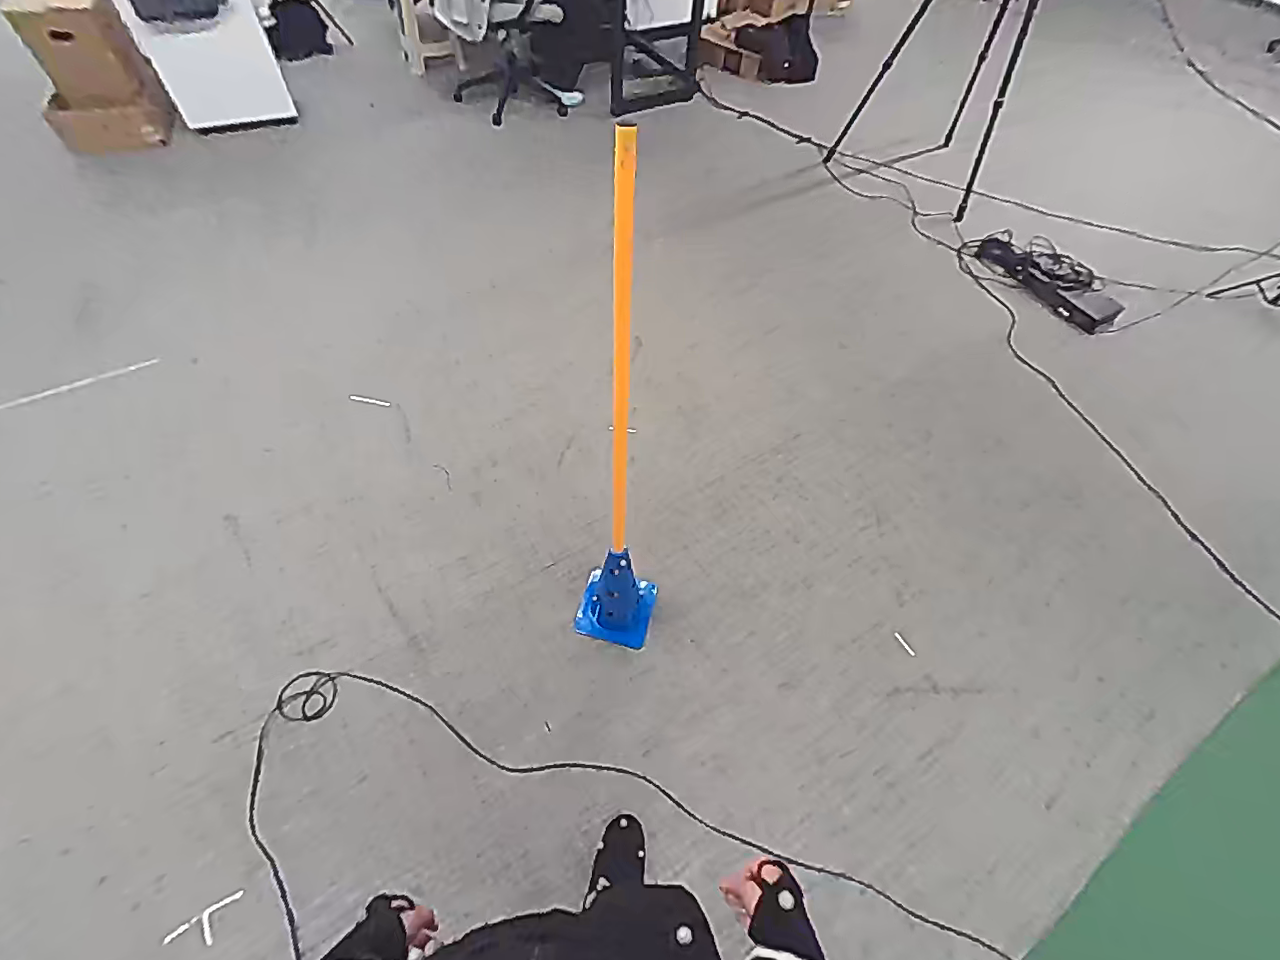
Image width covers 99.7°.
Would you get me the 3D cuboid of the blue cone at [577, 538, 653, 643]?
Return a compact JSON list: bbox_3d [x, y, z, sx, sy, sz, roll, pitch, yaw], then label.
[{"bbox_3d":[-0.060,0.252,1.366,0.192,0.380,0.193,13,55,5],"label":"blue cone"}]
